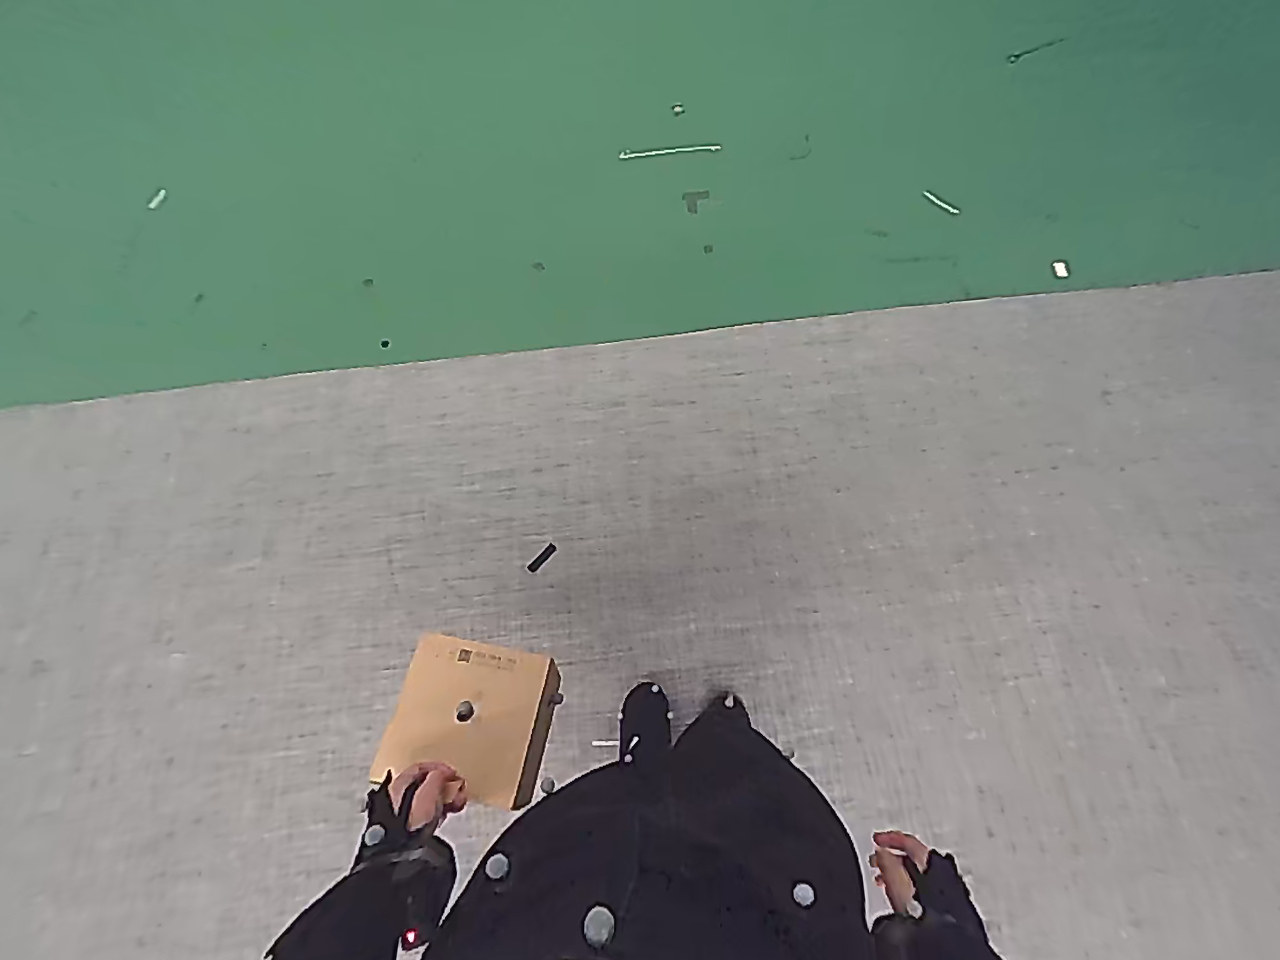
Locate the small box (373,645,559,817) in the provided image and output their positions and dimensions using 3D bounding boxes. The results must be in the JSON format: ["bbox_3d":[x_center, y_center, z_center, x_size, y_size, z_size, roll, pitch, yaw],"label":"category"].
[{"bbox_3d":[-0.207,0.322,0.698,0.168,0.179,0.176,9,61,2],"label":"small box"}]
